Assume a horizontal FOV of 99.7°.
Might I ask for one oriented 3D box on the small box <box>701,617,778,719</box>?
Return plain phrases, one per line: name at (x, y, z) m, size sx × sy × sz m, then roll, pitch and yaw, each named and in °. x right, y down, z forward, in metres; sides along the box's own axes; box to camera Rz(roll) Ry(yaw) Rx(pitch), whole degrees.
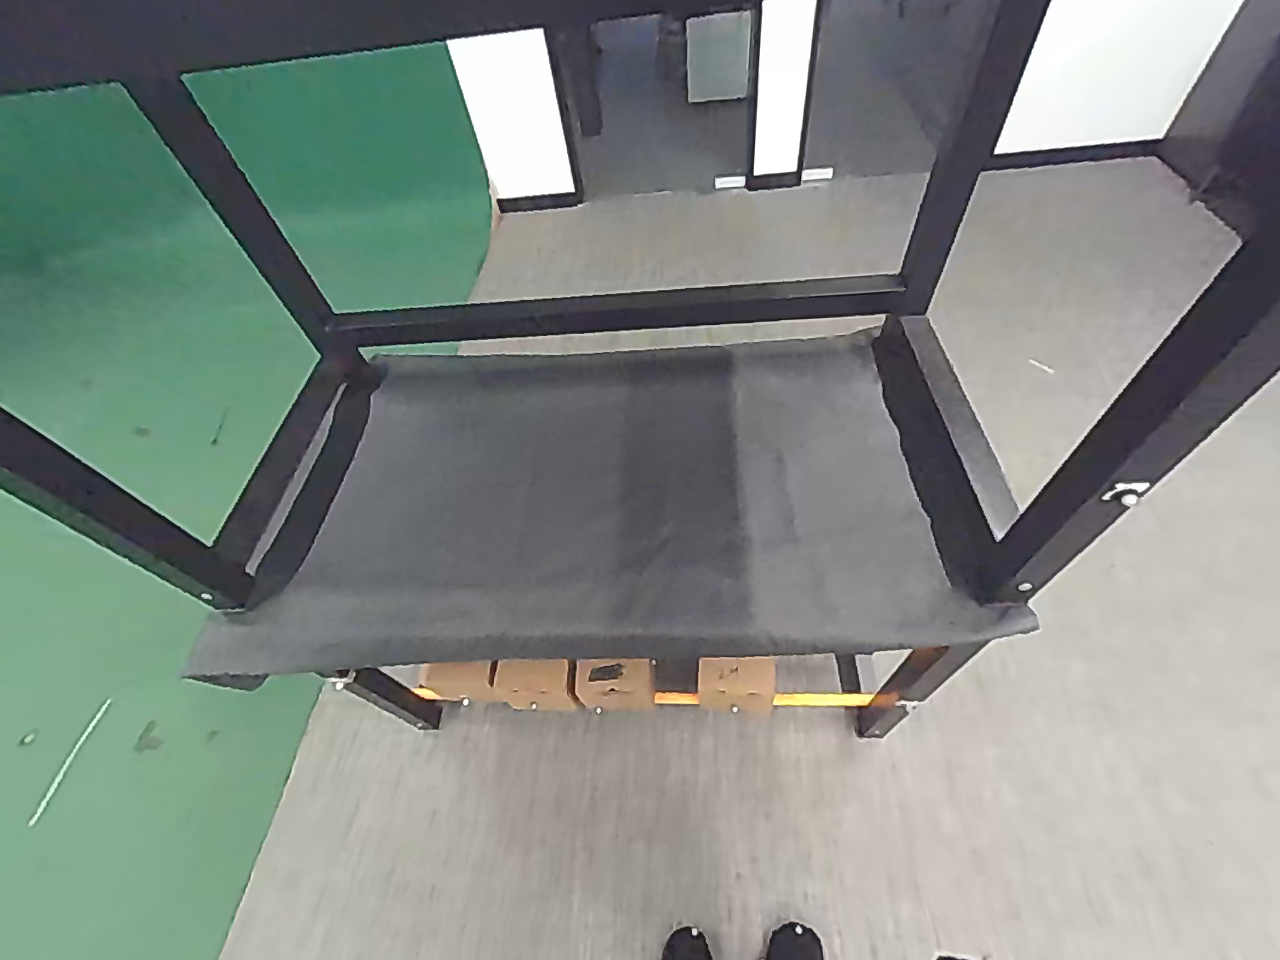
small box at (0.230, 0.441, 1.264) m, size 0.168 × 0.176 × 0.179 m, roll 1°, pitch 55°, yaw 10°
